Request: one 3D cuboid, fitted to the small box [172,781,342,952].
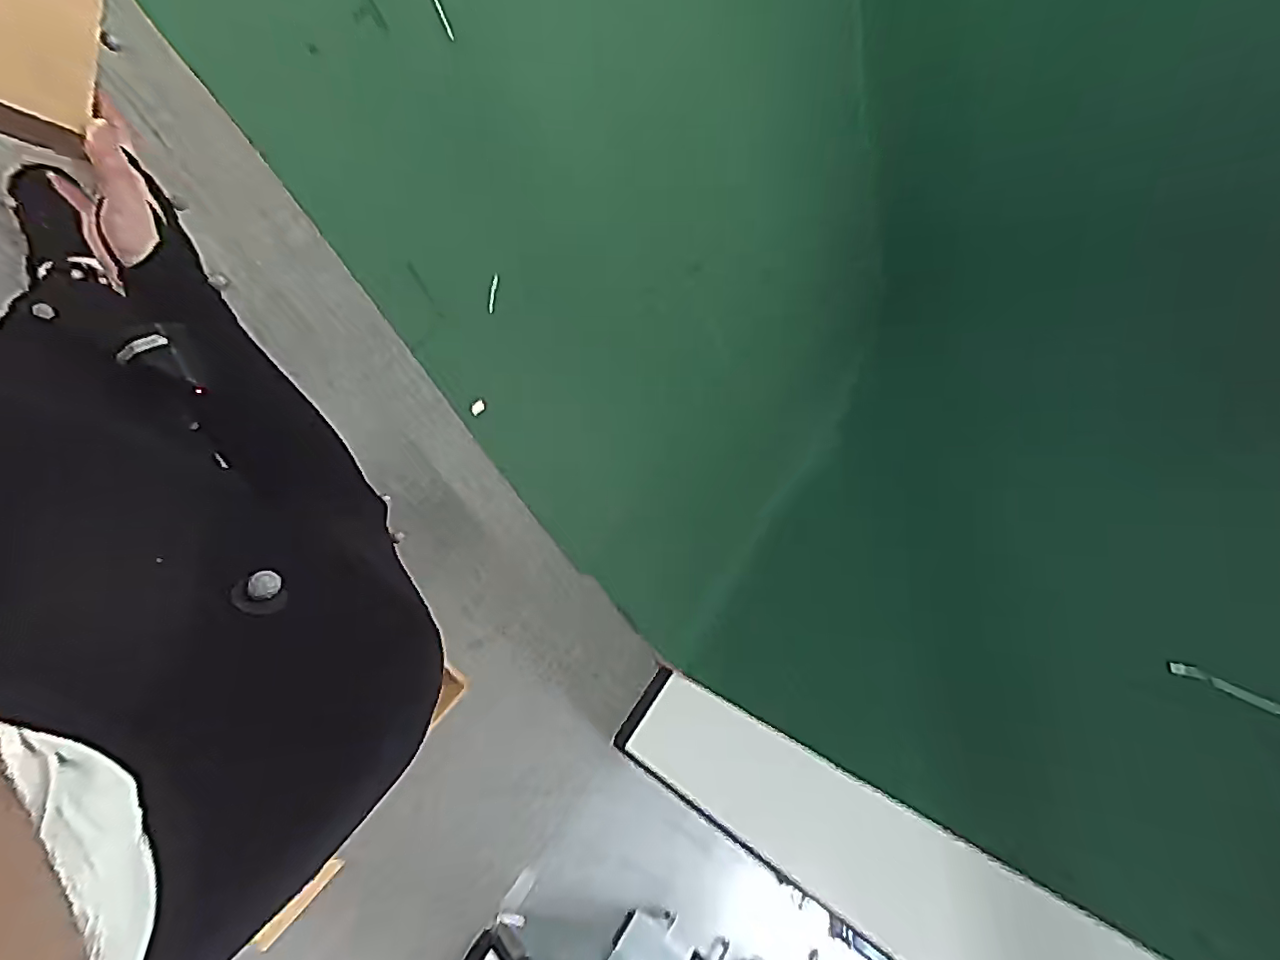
[{"bbox_3d":[-0.687,0.681,0.970,0.168,0.176,0.179,-45,132,-27],"label":"small box"}]
